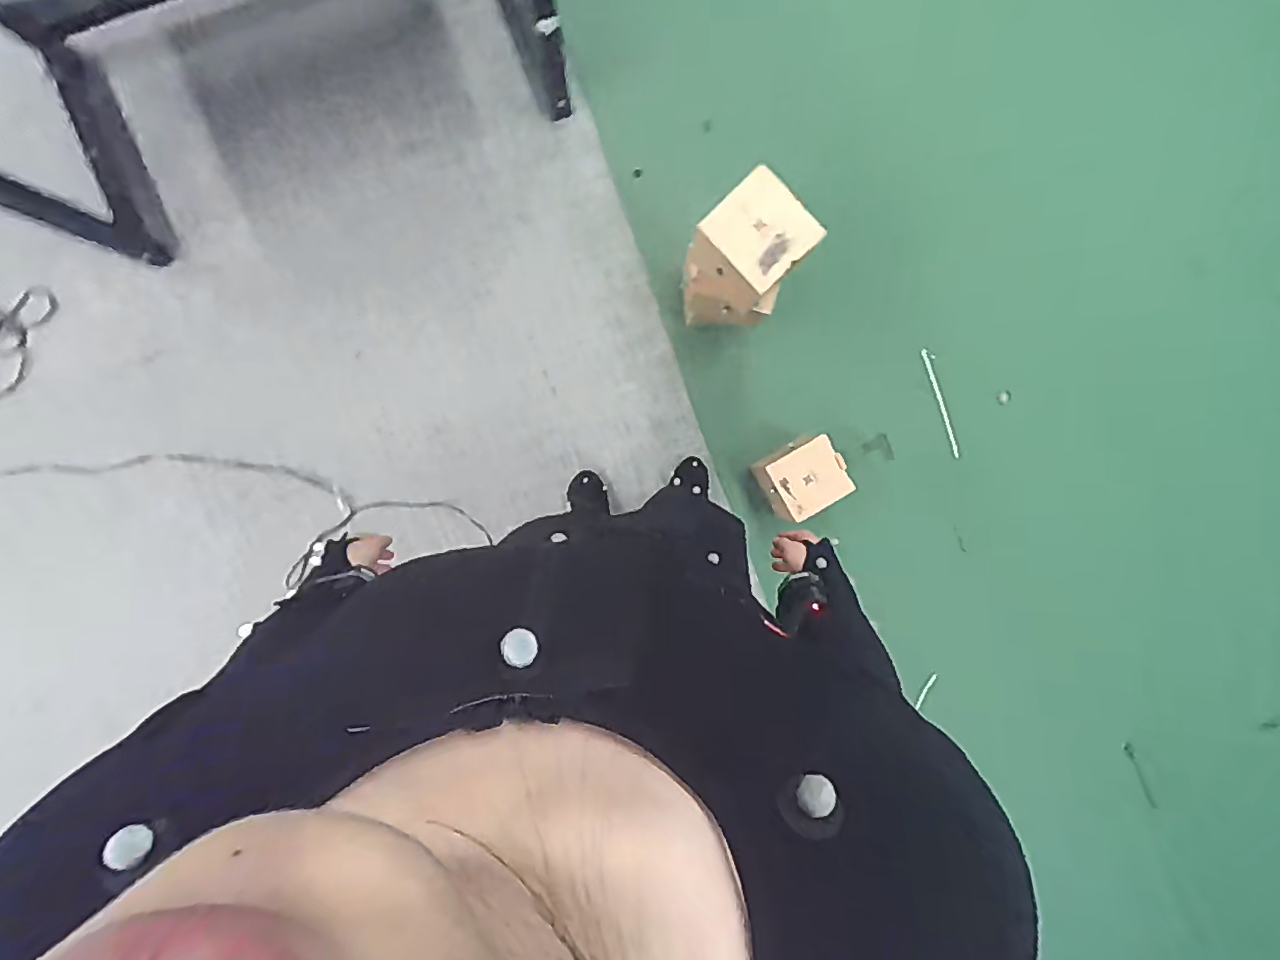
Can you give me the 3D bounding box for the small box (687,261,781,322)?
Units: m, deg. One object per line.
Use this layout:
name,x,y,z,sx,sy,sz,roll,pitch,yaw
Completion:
small box,0.215,-0.470,1.216,0.179,0.176,0.168,17,95,-4

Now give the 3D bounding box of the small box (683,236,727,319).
small box,0.204,-0.512,1.376,0.179,0.176,0.168,-4,94,-2

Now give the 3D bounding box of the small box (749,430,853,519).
small box,0.413,-0.021,1.417,0.179,0.176,0.168,-30,95,-1

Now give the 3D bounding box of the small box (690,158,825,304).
small box,0.218,-0.466,1.052,0.168,0.176,0.179,-43,94,2
